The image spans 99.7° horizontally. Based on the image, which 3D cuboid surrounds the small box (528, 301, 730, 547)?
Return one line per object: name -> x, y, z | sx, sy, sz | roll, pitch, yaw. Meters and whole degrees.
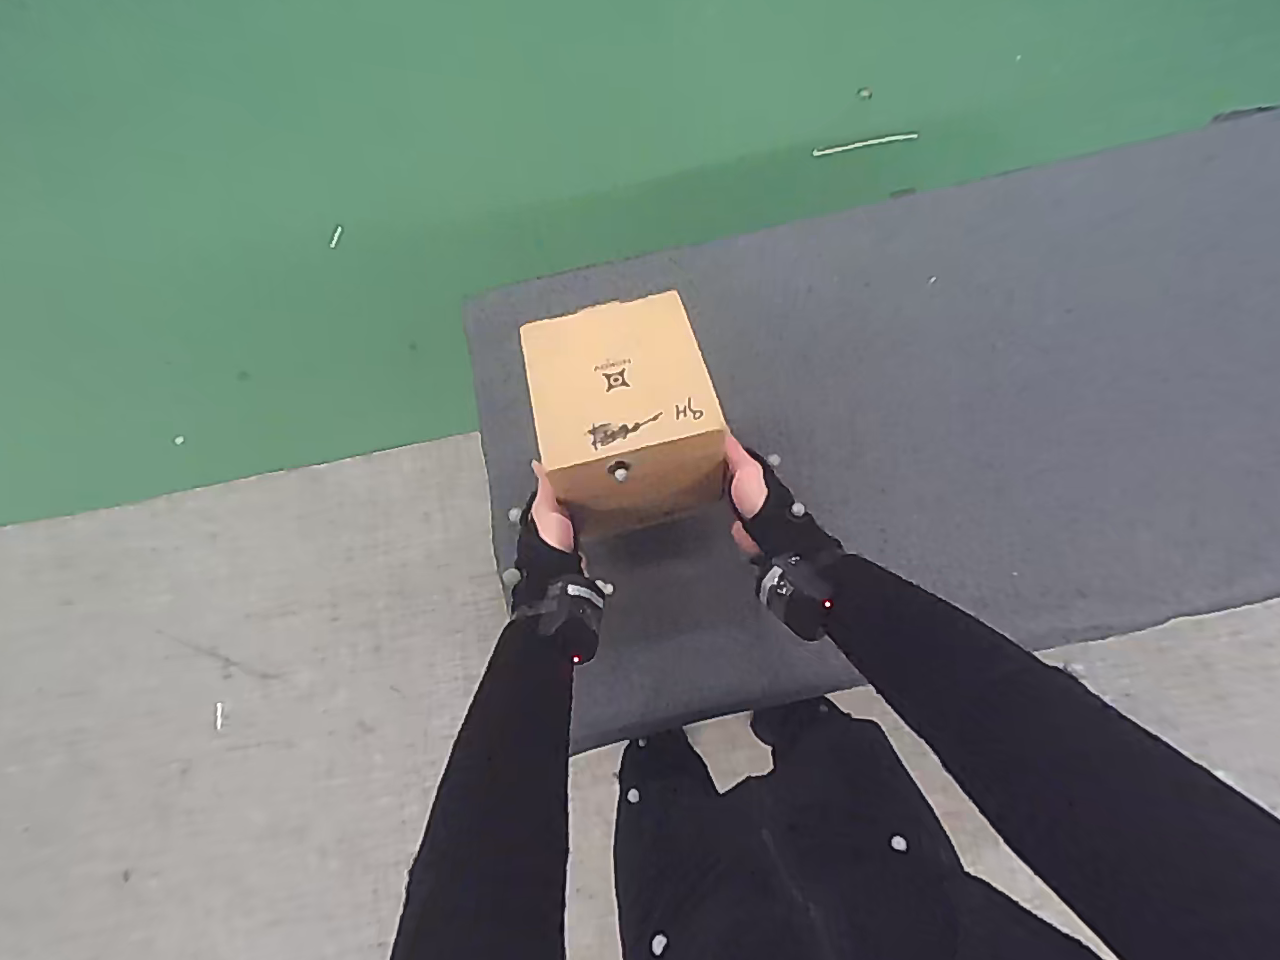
small box -> -0.009, -0.053, 0.577 | 0.168, 0.176, 0.179 | -15, 60, 0
